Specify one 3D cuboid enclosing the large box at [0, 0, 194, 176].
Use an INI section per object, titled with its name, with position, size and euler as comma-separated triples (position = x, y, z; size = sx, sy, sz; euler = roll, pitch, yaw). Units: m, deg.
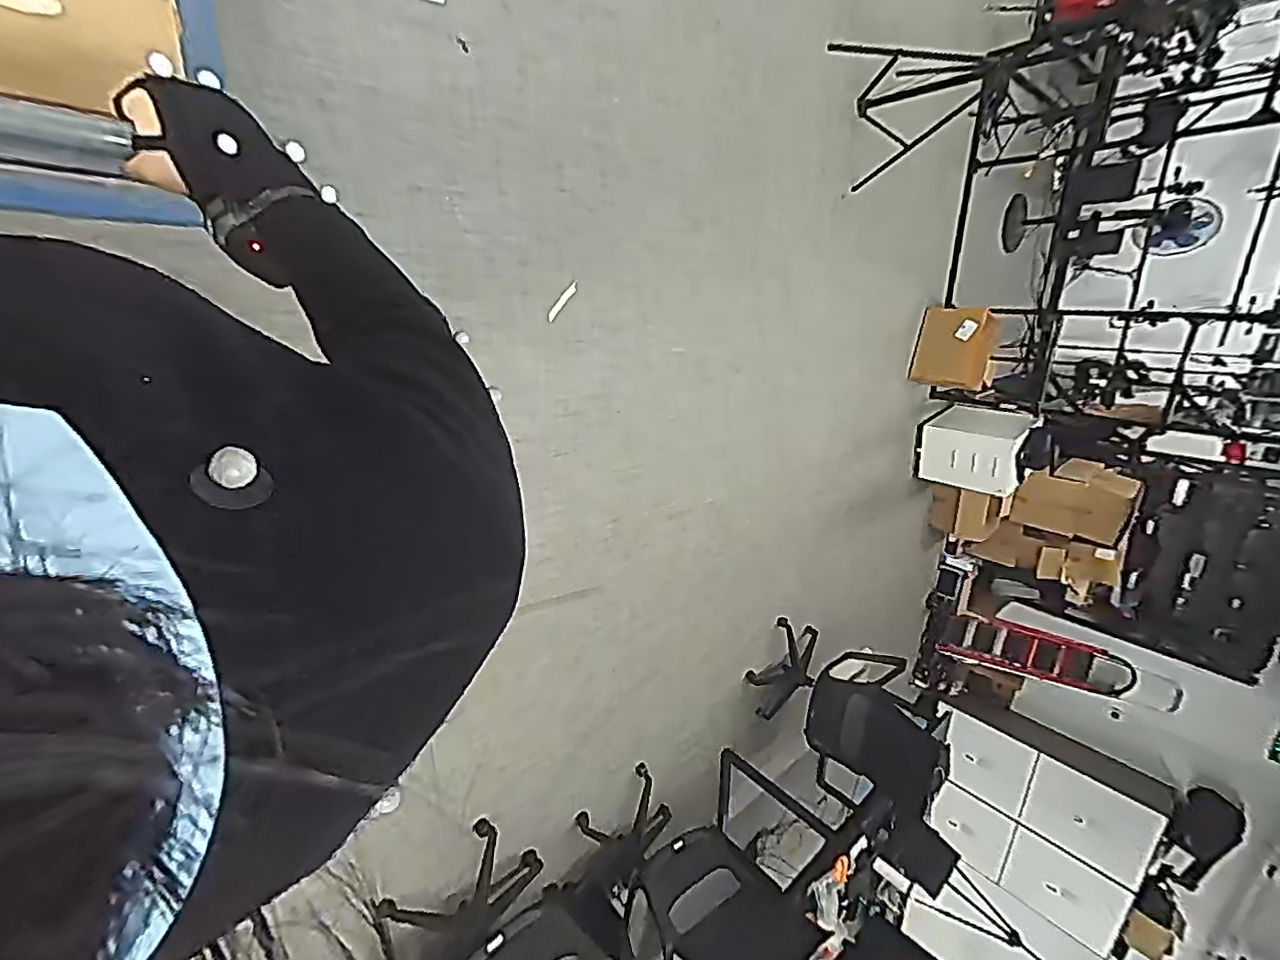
[large box]
position = -0.847, -0.599, 0.660
size = 0.408, 0.320, 0.320
euler = -13, 113, -42
